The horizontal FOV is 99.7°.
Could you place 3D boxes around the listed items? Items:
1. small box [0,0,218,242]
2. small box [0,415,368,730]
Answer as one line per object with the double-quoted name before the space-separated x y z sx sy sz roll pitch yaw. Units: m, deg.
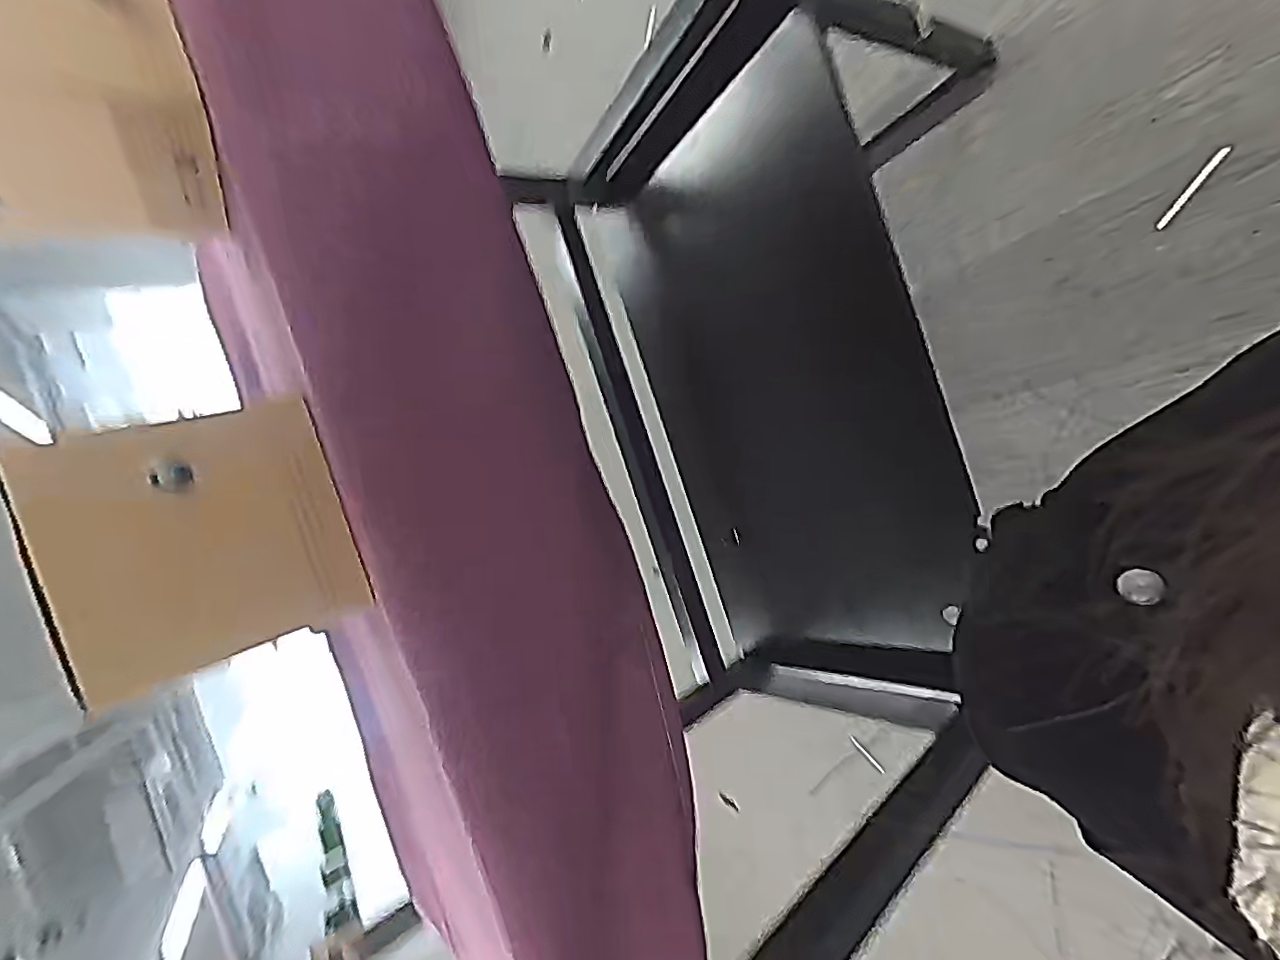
"small box" -0.441 -0.293 0.397 0.168 0.176 0.179 -22 88 57
"small box" -0.336 0.056 0.425 0.168 0.176 0.179 -17 92 57
